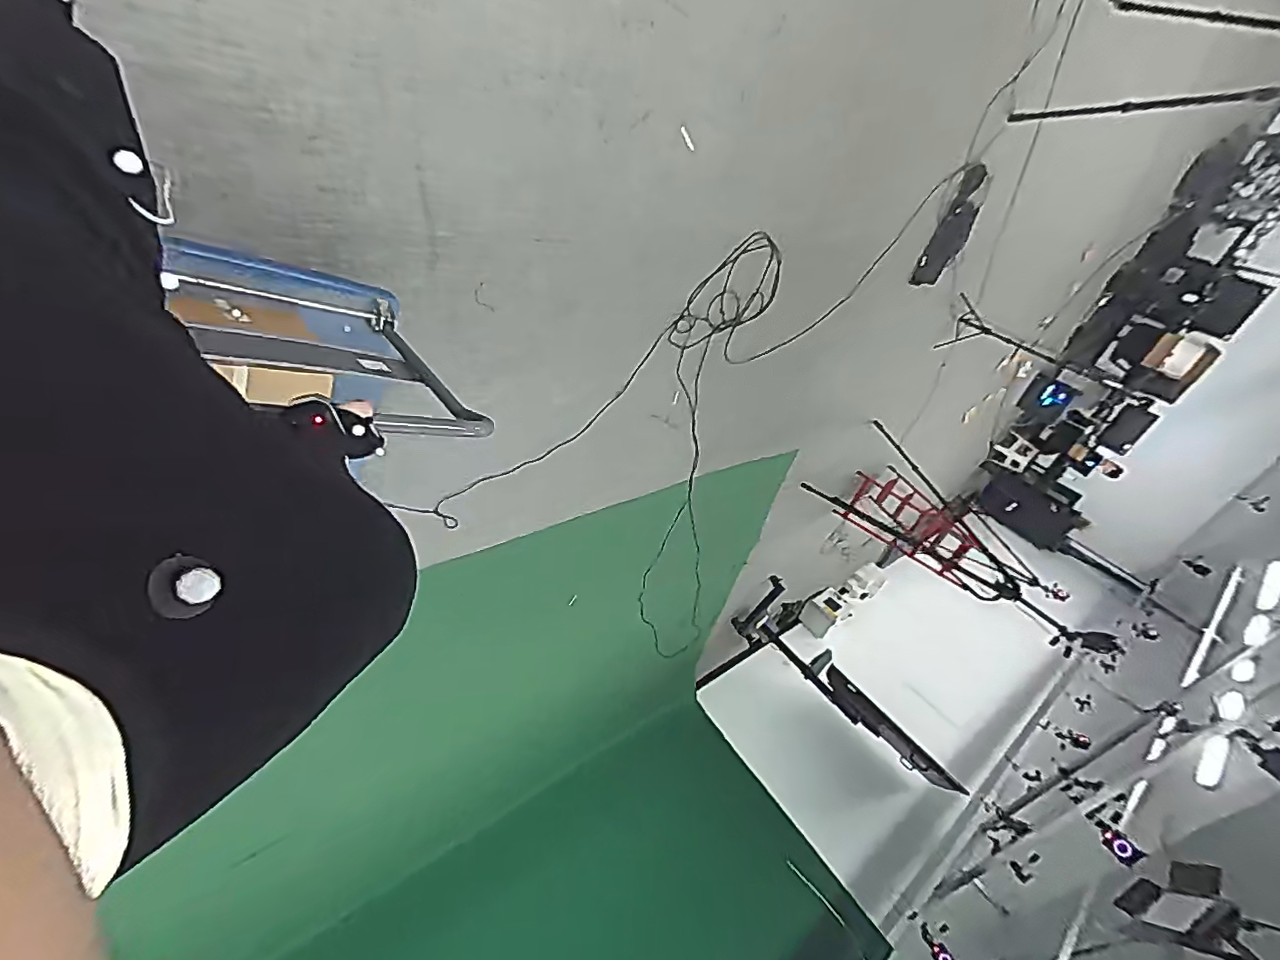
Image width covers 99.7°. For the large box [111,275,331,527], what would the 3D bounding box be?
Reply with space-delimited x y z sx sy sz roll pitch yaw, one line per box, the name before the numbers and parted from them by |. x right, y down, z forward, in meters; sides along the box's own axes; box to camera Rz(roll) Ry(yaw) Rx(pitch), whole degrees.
large box | -0.898 -0.162 1.152 0.320 0.320 0.408 -2 128 -46
